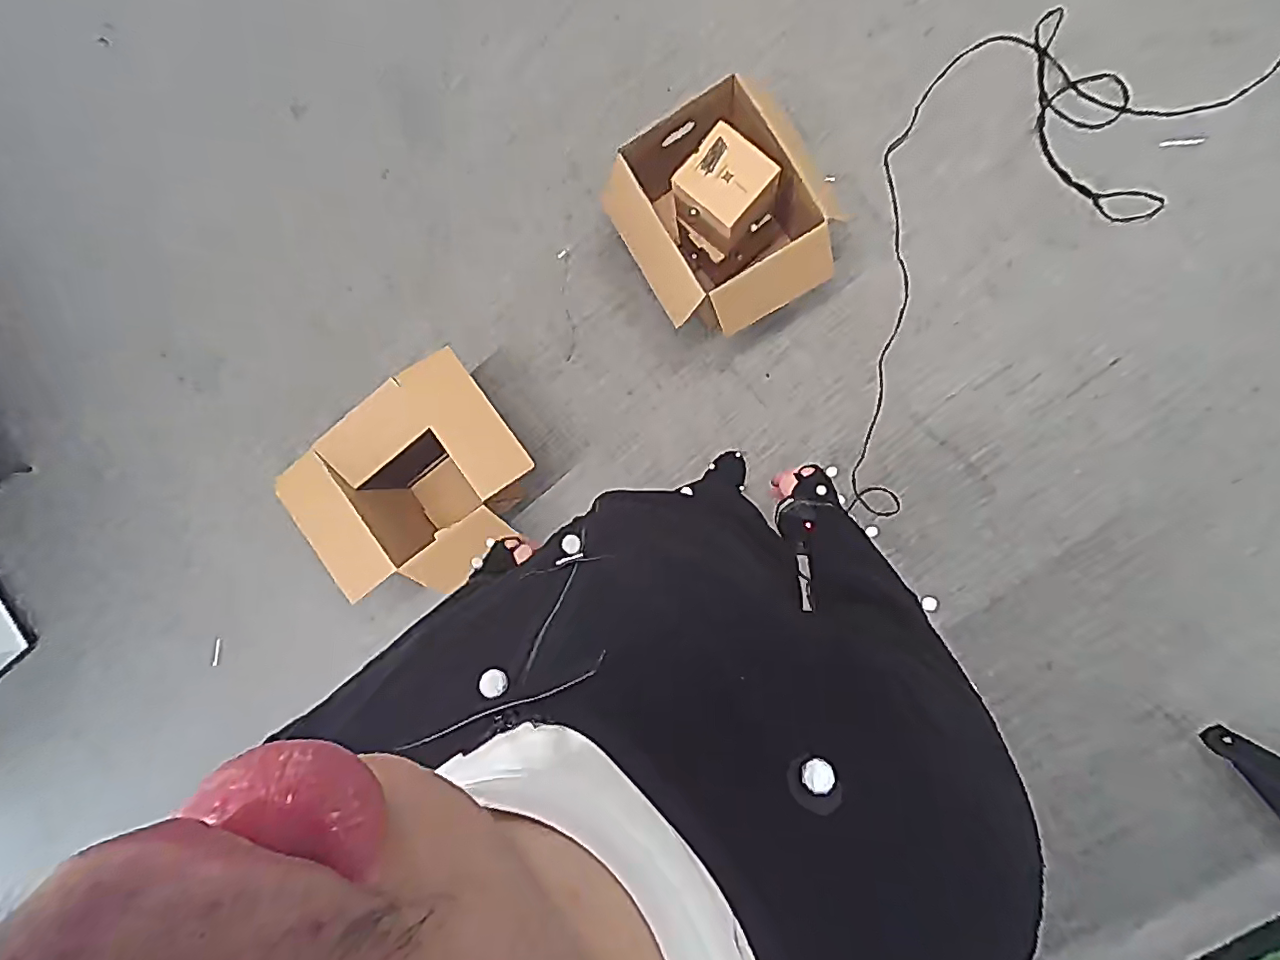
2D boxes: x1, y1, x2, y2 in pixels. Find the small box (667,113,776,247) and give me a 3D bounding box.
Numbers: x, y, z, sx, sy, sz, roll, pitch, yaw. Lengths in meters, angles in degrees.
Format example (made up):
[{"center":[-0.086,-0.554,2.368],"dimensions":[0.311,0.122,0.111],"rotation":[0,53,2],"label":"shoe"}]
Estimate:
[{"center":[0.186,-0.674,1.239],"dimensions":[0.168,0.176,0.179],"rotation":[-45,84,9],"label":"small box"}]
